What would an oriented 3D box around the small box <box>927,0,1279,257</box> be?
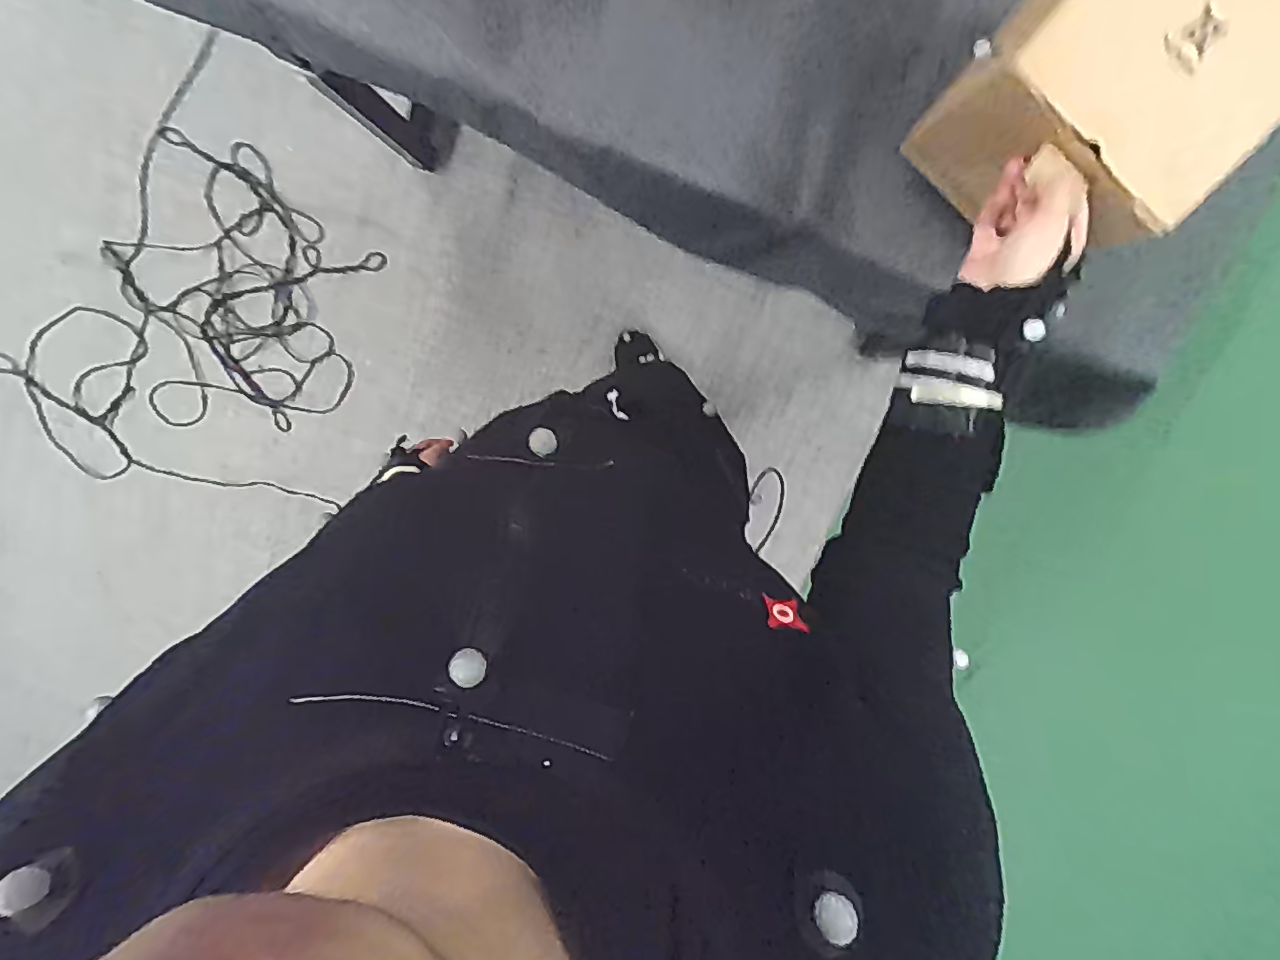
[{"bbox_3d":[0.367,-0.306,0.431,0.168,0.176,0.179,39,101,-9],"label":"small box"}]
